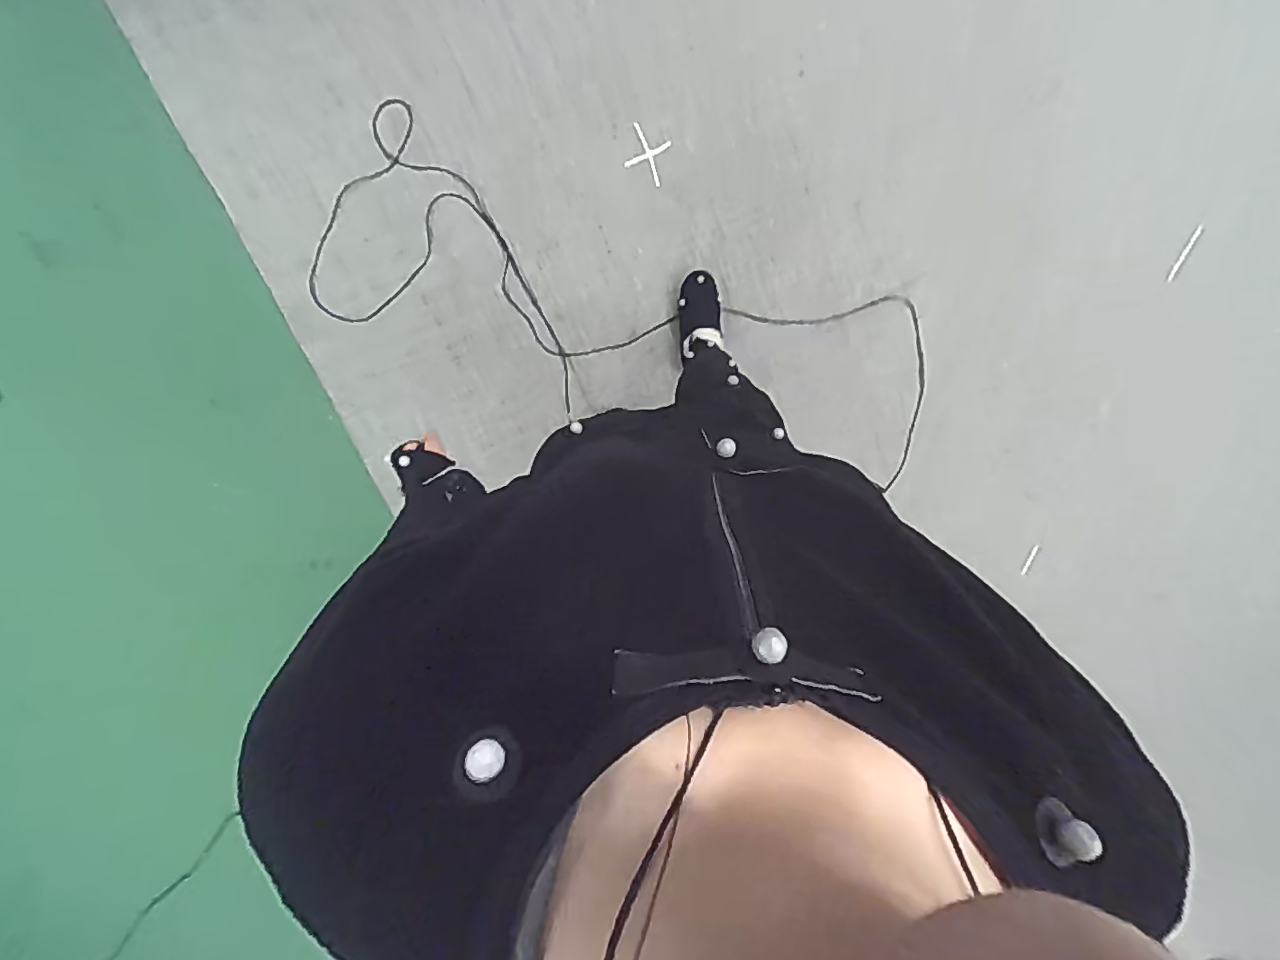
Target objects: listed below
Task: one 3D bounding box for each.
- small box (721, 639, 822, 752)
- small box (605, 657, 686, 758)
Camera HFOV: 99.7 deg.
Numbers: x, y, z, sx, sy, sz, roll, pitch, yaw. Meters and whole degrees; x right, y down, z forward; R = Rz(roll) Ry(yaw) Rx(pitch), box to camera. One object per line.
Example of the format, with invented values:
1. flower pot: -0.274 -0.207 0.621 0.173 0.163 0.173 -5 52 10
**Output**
1. small box: 0.317 0.522 1.335 0.179 0.176 0.168 -23 101 5
2. small box: 0.010 0.629 1.517 0.179 0.176 0.168 -23 103 3
